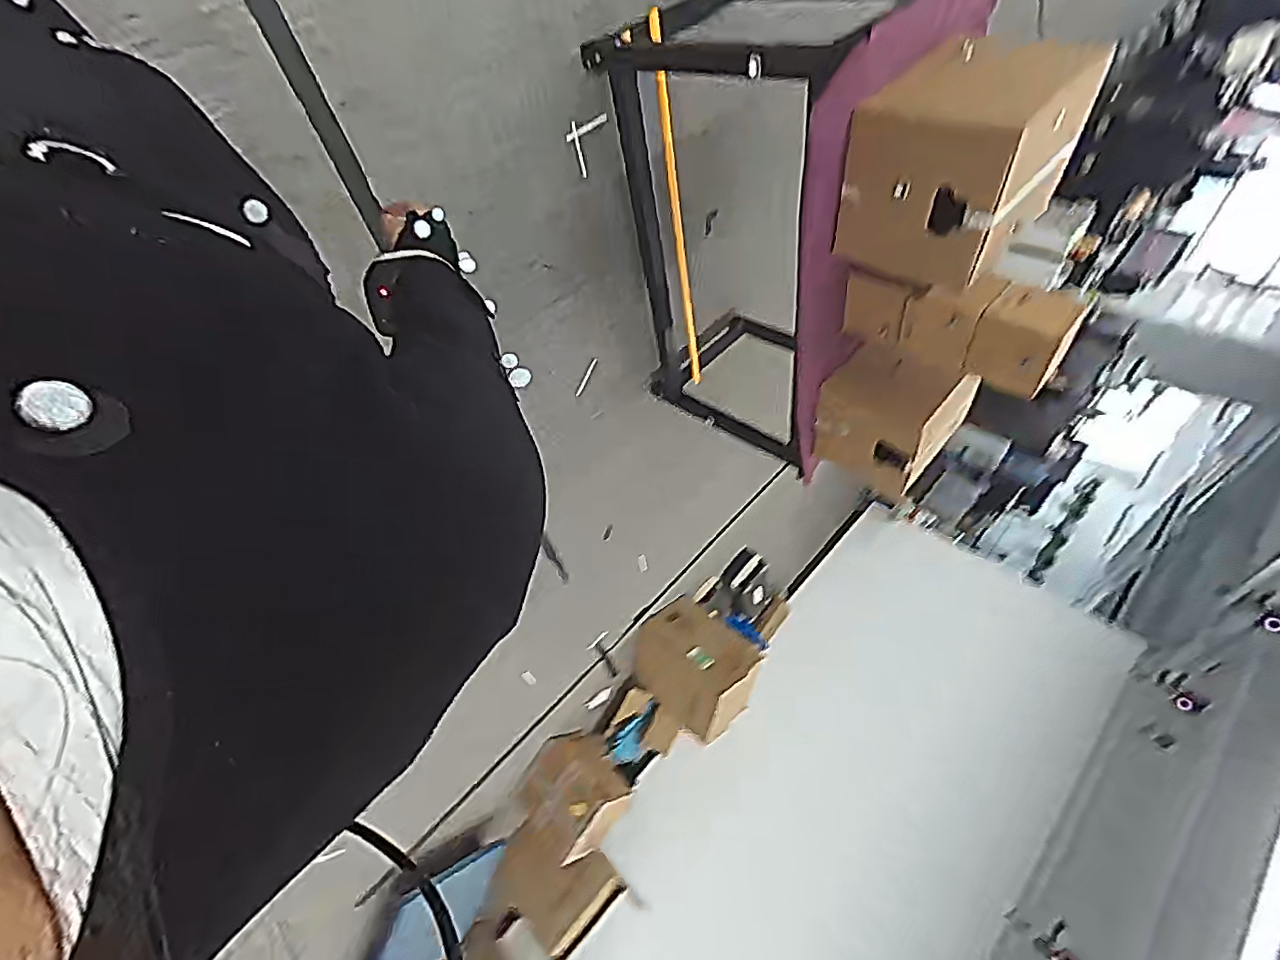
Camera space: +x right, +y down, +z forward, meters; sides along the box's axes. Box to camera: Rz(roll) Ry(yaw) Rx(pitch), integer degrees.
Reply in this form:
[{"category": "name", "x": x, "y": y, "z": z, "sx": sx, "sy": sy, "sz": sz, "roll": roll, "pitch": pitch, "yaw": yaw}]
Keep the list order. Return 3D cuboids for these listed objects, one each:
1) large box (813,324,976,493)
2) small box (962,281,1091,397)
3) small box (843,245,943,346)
[{"category": "large box", "x": 0.782, "y": -0.242, "z": 1.679, "sx": 0.408, "sy": 0.320, "sz": 0.320, "roll": -43, "pitch": 145, "yaw": -21}, {"category": "small box", "x": 0.885, "y": -0.332, "z": 1.258, "sx": 0.168, "sy": 0.176, "sz": 0.179, "roll": -41, "pitch": 144, "yaw": -22}, {"category": "small box", "x": 0.660, "y": -0.492, "z": 1.433, "sx": 0.168, "sy": 0.176, "sz": 0.179, "roll": -43, "pitch": 145, "yaw": -20}]
